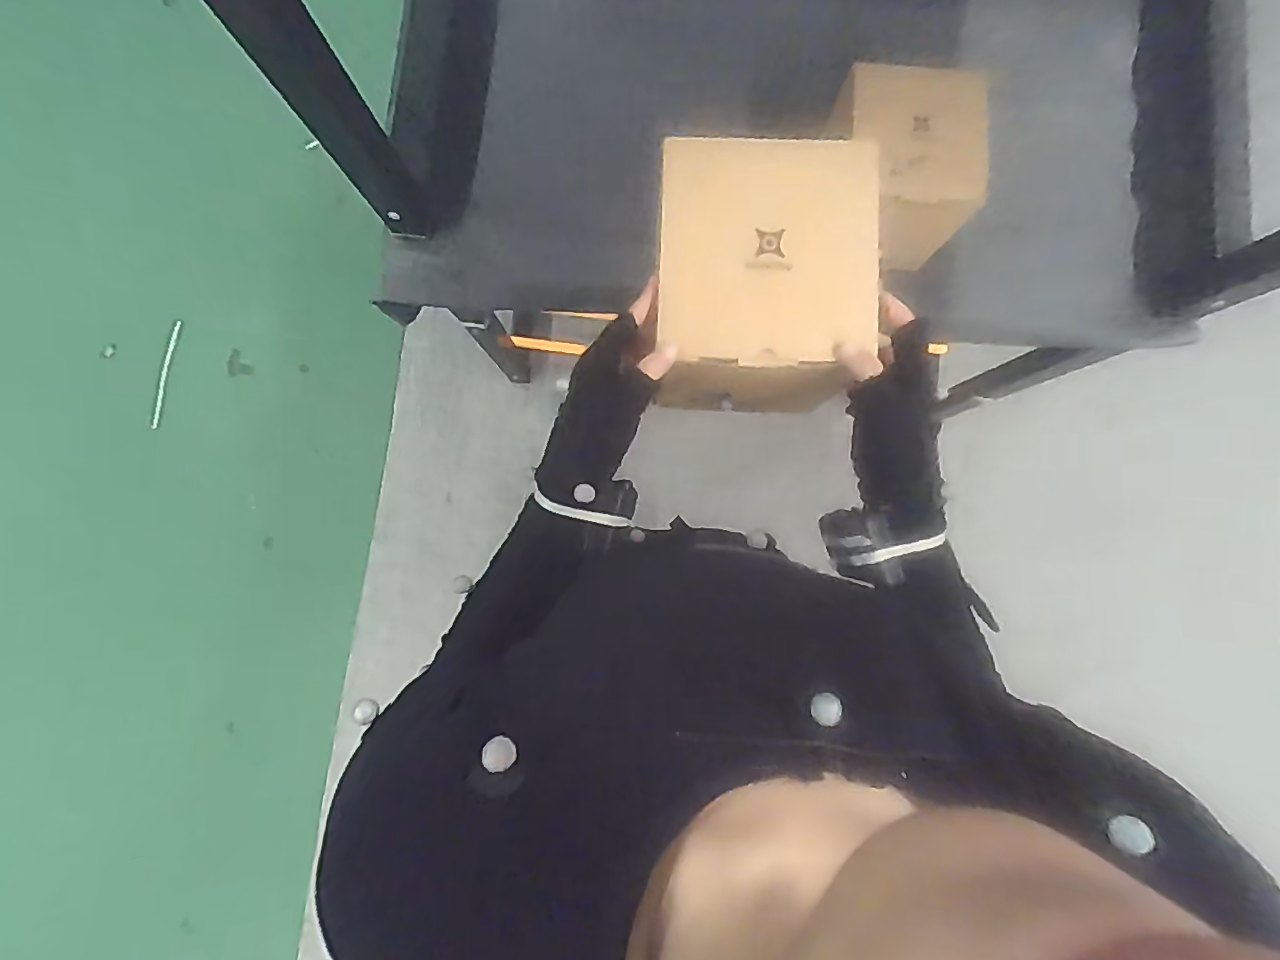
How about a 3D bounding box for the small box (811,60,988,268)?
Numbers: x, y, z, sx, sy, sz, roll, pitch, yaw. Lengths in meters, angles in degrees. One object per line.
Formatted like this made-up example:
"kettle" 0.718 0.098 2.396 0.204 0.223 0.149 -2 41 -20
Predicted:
"small box" 0.340 -0.419 0.738 0.168 0.176 0.179 4 83 1
